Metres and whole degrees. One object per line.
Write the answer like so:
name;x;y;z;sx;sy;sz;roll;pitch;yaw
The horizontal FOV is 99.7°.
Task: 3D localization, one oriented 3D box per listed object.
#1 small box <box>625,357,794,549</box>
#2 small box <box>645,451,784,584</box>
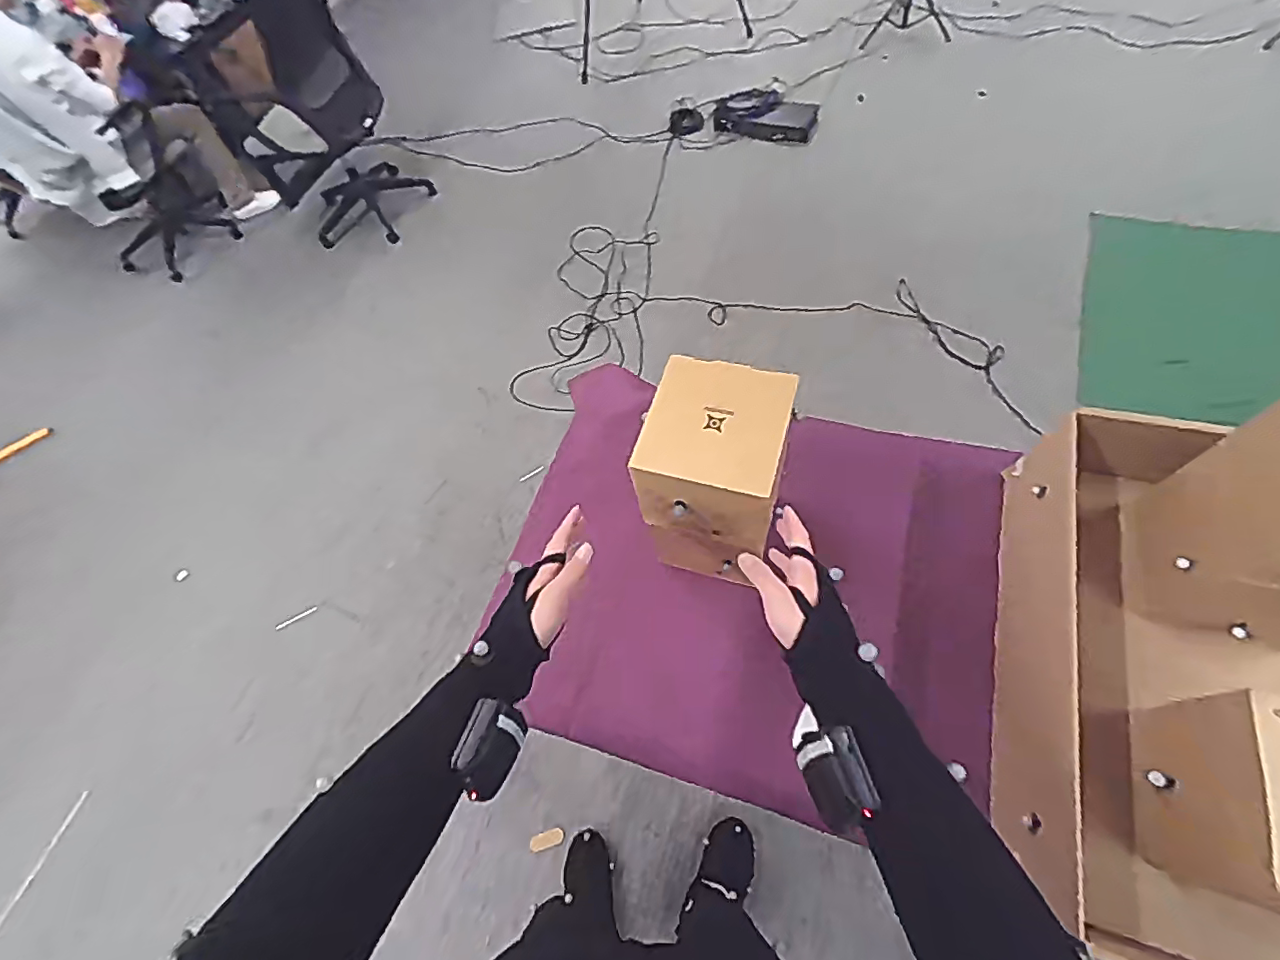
small box;0.096;-0.029;0.708;0.168;0.176;0.179;13;64;15
small box;0.121;0.045;0.850;0.168;0.176;0.179;13;64;15
